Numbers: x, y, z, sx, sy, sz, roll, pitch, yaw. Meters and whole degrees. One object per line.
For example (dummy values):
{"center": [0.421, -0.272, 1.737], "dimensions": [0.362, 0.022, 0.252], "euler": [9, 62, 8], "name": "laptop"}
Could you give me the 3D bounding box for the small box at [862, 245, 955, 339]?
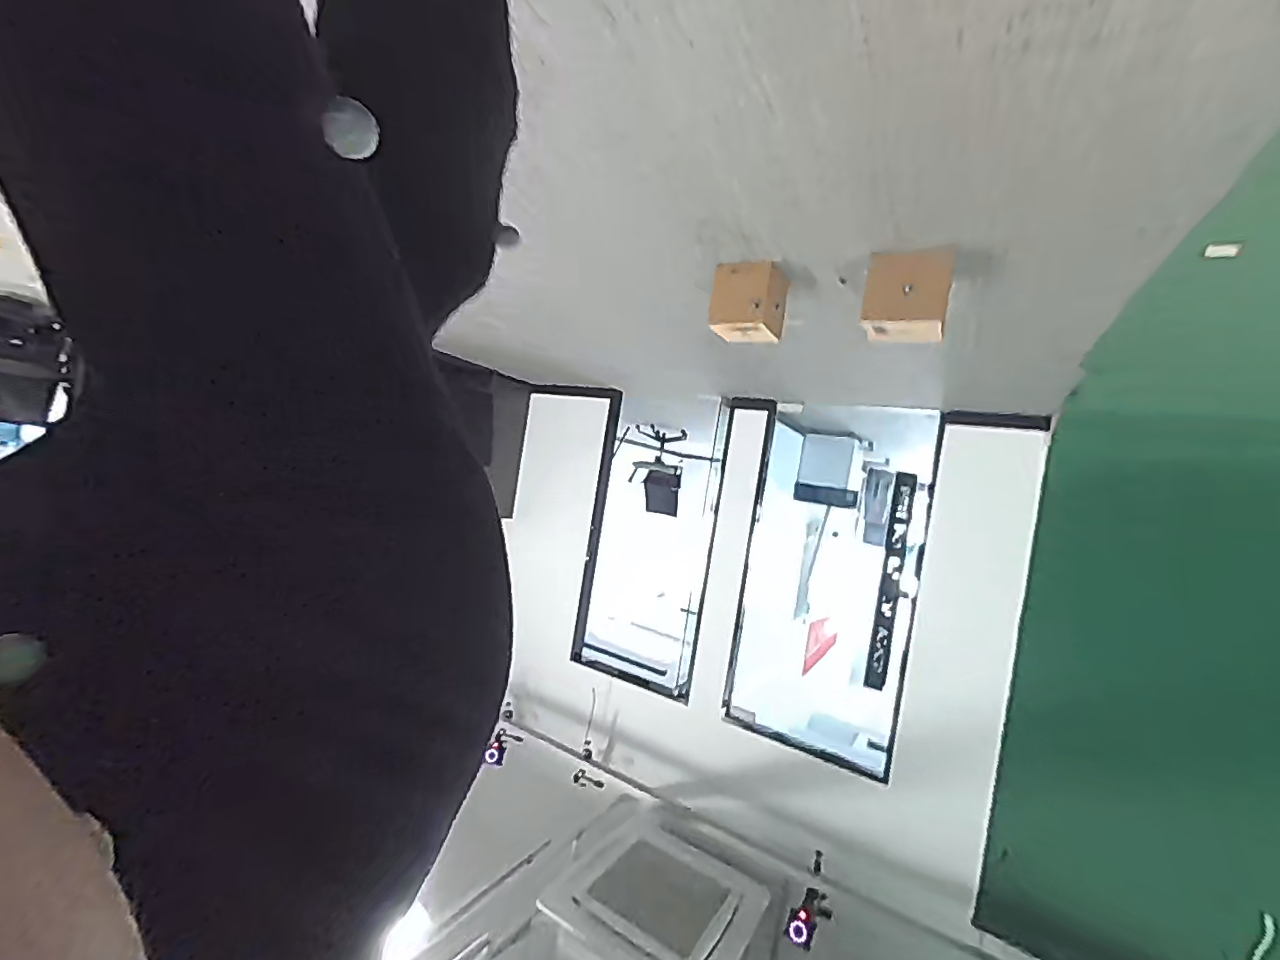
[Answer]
{"center": [0.650, -0.449, 1.310], "dimensions": [0.179, 0.176, 0.168], "euler": [7, 180, 30], "name": "small box"}
